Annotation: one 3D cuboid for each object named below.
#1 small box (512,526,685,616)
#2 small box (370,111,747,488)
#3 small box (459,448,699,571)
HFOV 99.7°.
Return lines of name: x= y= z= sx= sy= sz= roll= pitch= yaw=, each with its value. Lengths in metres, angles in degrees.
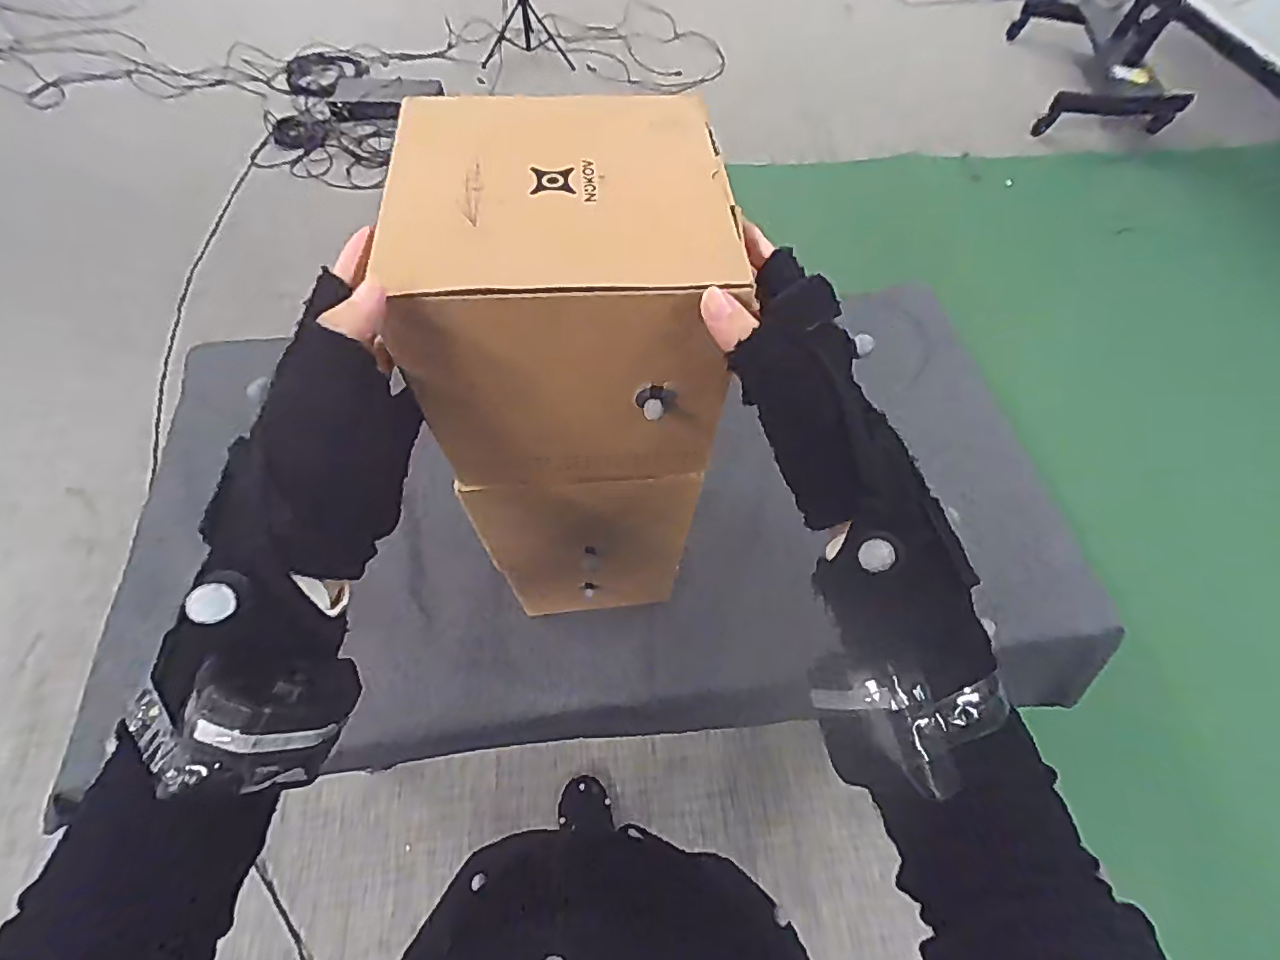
small box: x=-0.059 y=0.050 z=0.640 sx=0.179 sy=0.176 sz=0.168 roll=-8 pitch=62 yaw=-8
small box: x=-0.045 y=-0.108 z=0.355 sx=0.179 sy=0.176 sz=0.168 roll=-5 pitch=60 yaw=-4
small box: x=-0.054 y=-0.025 z=0.495 sx=0.179 sy=0.176 sz=0.168 roll=-4 pitch=61 yaw=-5
